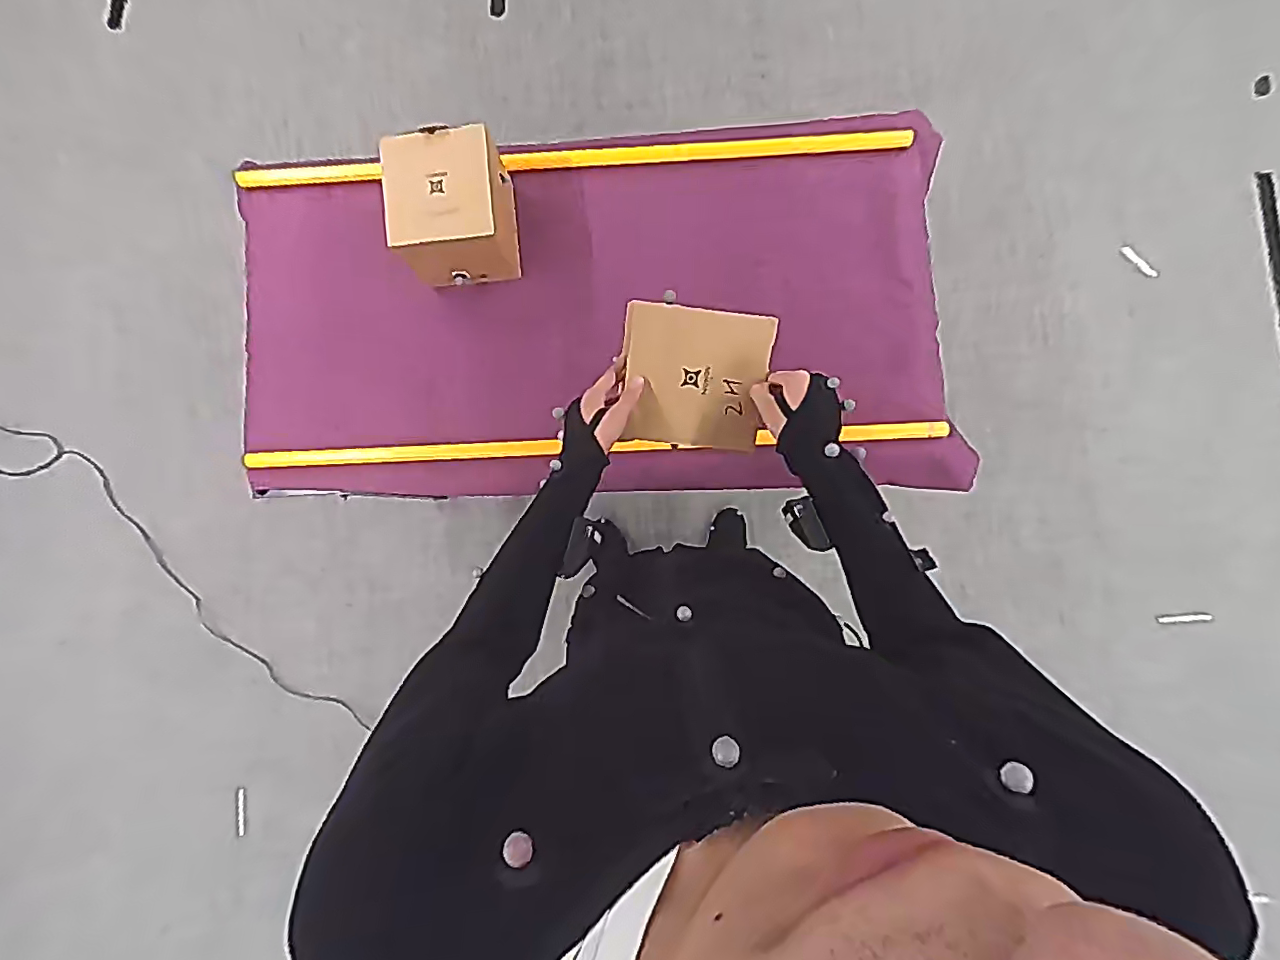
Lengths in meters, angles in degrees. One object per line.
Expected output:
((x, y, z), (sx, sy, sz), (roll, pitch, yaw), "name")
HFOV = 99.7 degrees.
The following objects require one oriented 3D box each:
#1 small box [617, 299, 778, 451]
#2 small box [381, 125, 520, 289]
((0.063, -0.145, 0.729), (0.179, 0.176, 0.168), (5, 107, -6), "small box")
((-0.302, -0.439, 0.891), (0.168, 0.176, 0.179), (-6, 87, 2), "small box")
